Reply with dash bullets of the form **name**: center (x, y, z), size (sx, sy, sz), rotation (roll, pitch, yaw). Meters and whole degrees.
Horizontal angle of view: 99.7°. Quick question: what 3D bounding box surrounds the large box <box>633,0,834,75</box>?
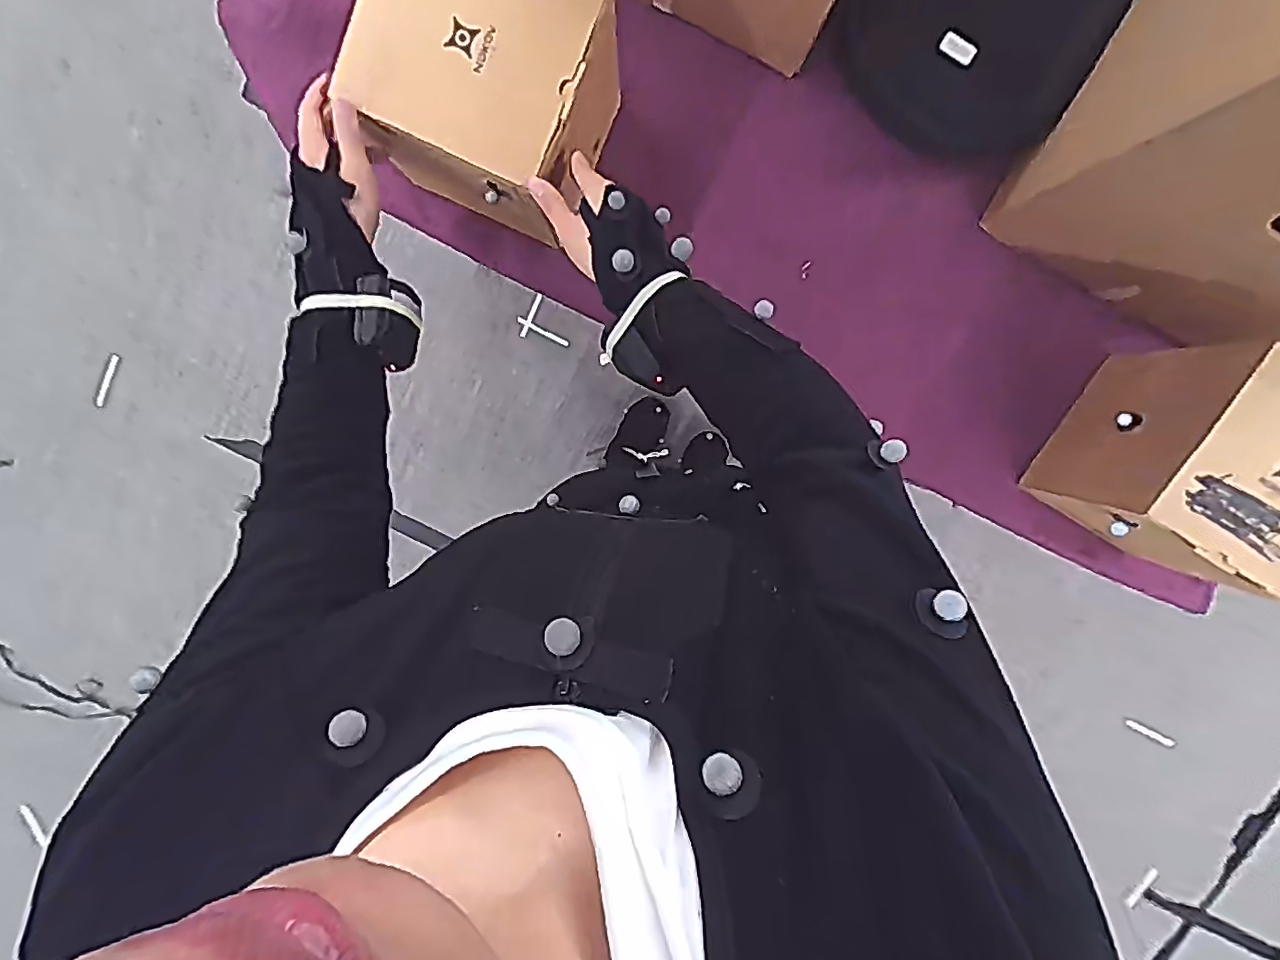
- **large box**: center (0.104, -0.634, 0.385), size (0.320, 0.320, 0.408), rotation (24, 100, -3)
